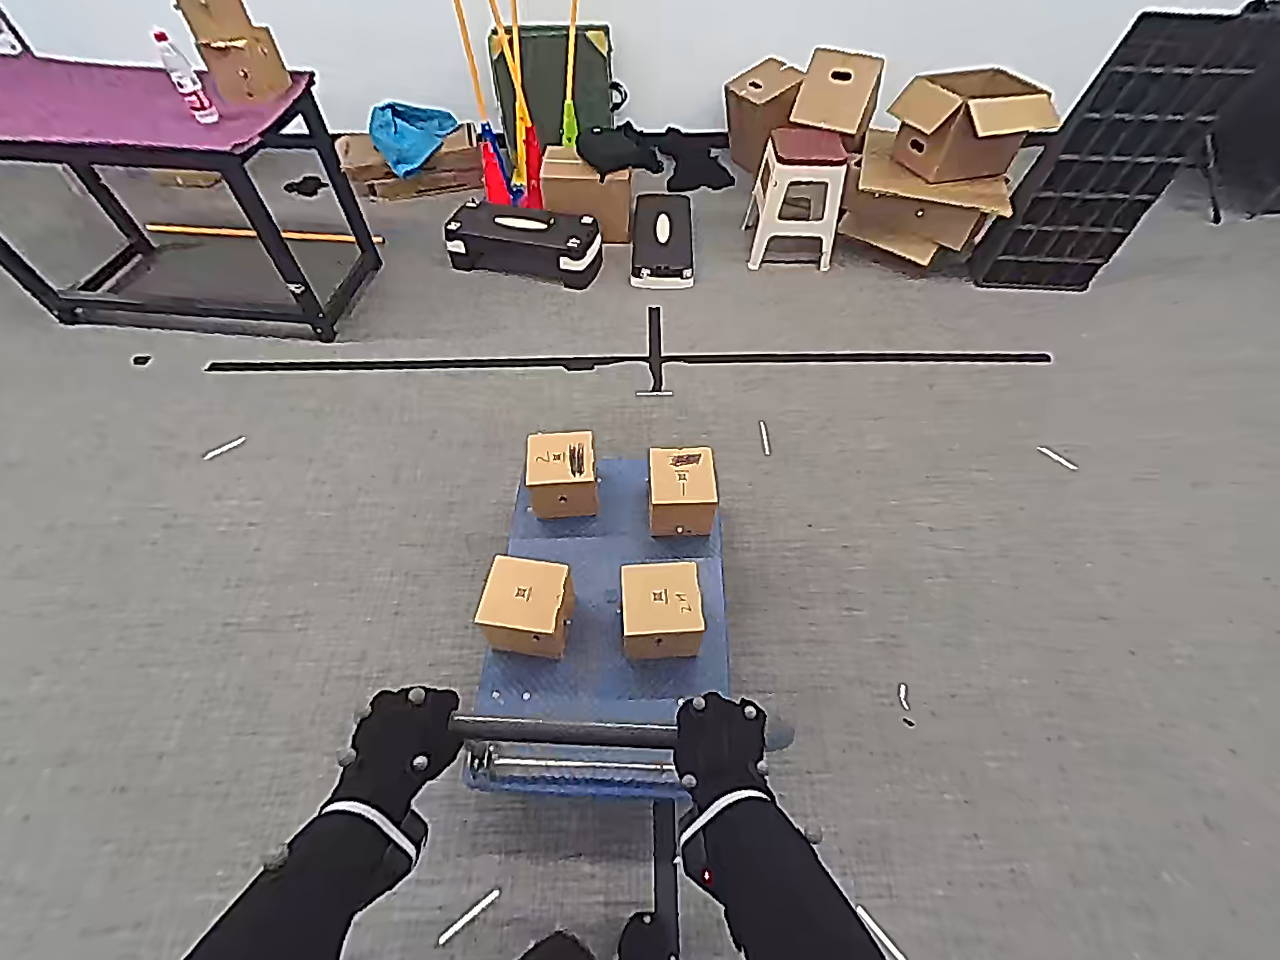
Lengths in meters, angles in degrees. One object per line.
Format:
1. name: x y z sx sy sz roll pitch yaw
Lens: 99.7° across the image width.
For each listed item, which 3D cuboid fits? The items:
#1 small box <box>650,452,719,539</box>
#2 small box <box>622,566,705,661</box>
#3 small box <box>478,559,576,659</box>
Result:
1. small box: 0.113 0.044 1.454 0.168 0.176 0.179 -1 56 -1
2. small box: 0.050 0.315 1.262 0.179 0.176 0.168 -2 55 -2
3. small box: -0.255 0.305 1.266 0.179 0.176 0.168 8 54 3
